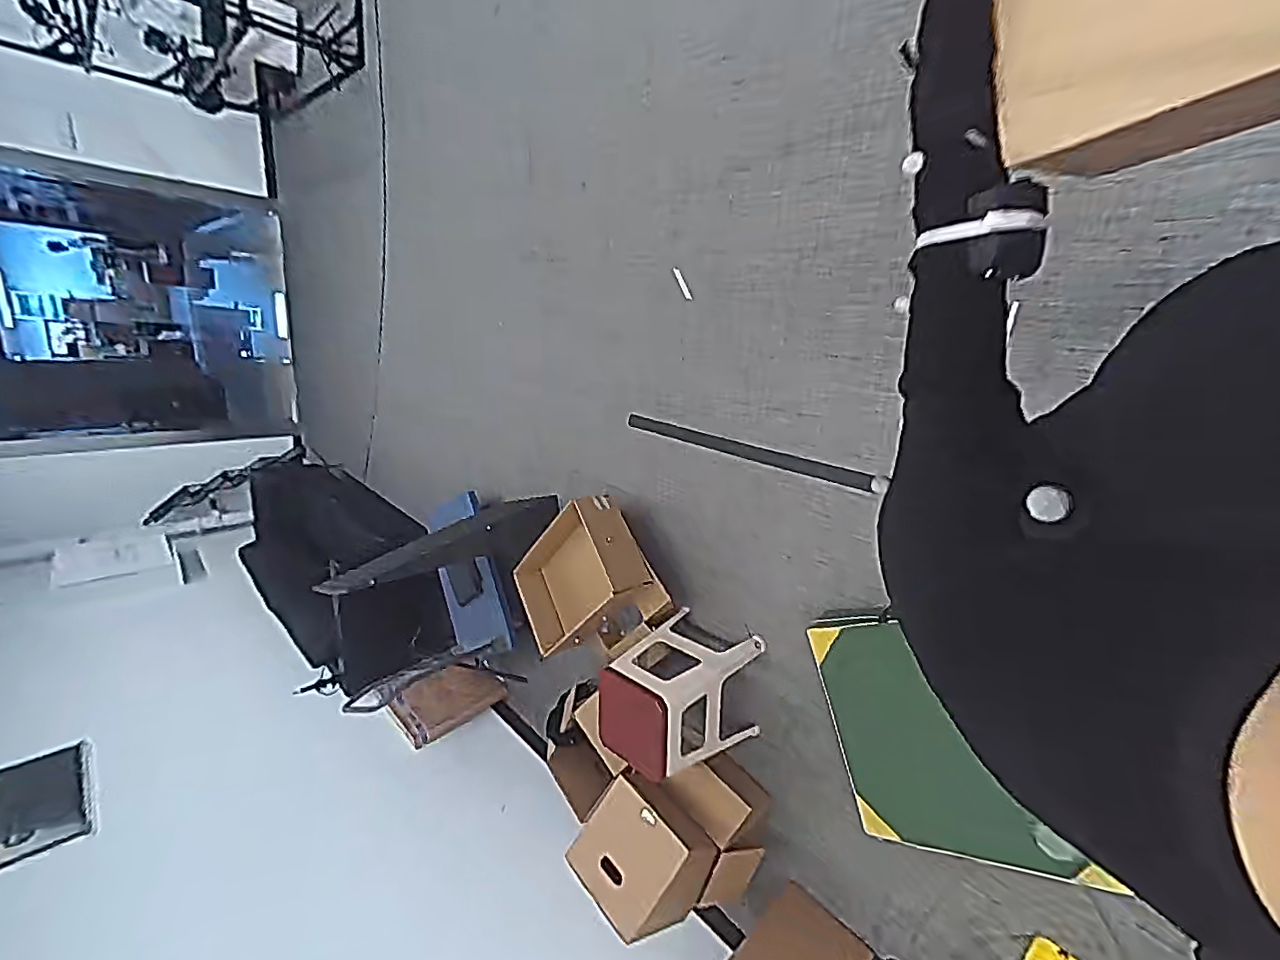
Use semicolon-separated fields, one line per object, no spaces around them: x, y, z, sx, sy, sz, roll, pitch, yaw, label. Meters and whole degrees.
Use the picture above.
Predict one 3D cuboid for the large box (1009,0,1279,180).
0.495;-0.434;0.336;0.408;0.320;0.320;0;109;47;large box
